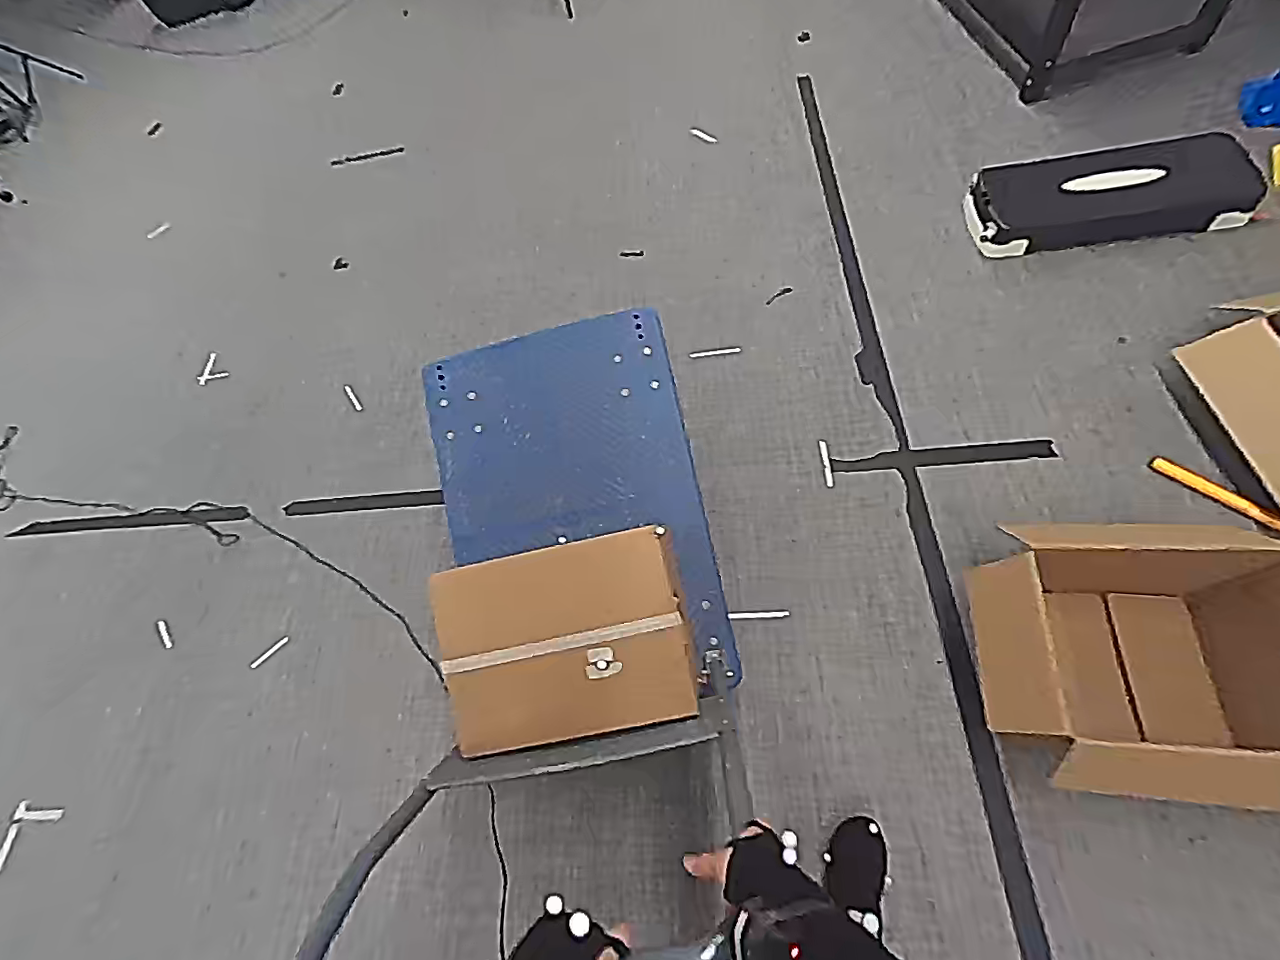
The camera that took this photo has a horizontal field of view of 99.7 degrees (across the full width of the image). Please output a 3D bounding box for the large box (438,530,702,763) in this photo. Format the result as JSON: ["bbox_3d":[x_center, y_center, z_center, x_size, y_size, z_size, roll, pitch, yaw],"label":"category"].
[{"bbox_3d":[-0.112,0.293,1.049,0.408,0.320,0.320,-13,85,4],"label":"large box"}]
